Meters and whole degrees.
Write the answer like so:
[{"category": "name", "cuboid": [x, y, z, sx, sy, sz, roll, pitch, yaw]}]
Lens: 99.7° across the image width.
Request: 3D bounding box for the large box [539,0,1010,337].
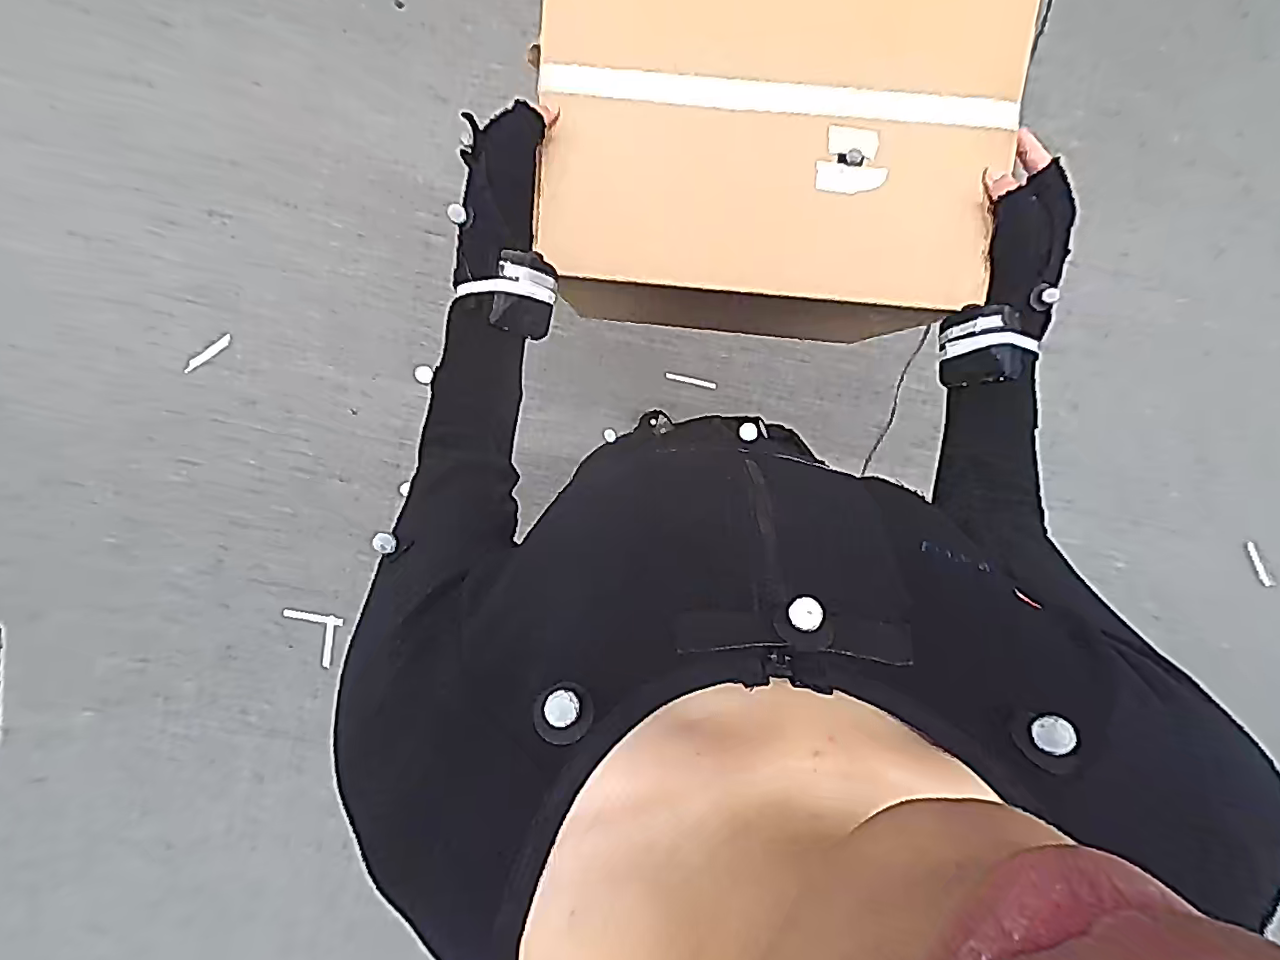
[{"category": "large box", "cuboid": [0.112, -0.350, 0.624, 0.408, 0.320, 0.320, 5, 100, 0]}]
